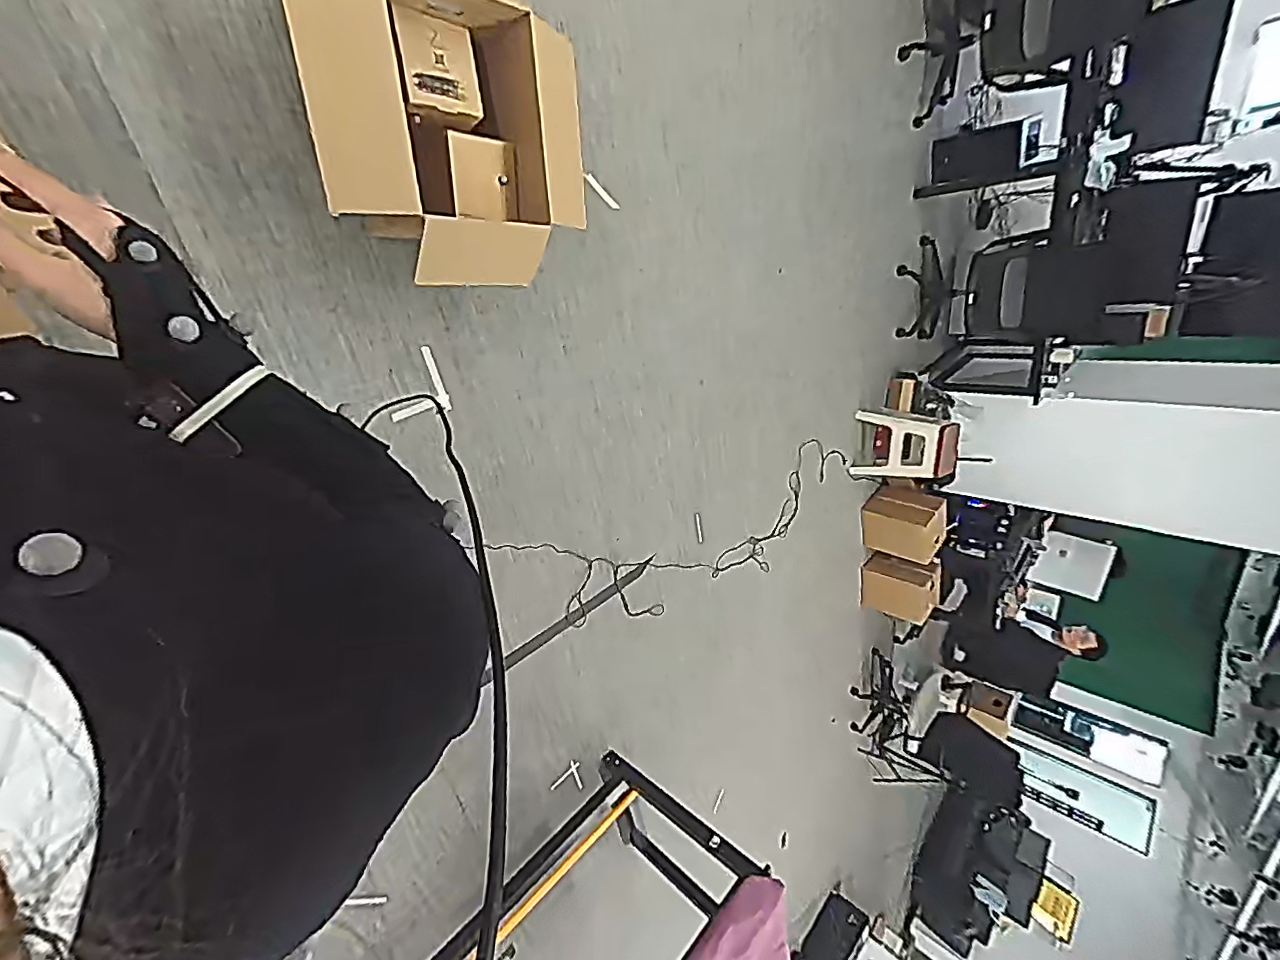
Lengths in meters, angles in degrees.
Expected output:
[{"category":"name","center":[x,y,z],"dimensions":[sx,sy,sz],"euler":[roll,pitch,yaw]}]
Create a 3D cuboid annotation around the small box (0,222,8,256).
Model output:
[{"category":"small box","center":[-0.502,-0.214,0.296],"dimensions":[0.179,0.176,0.168],"euler":[-17,111,-45]}]
